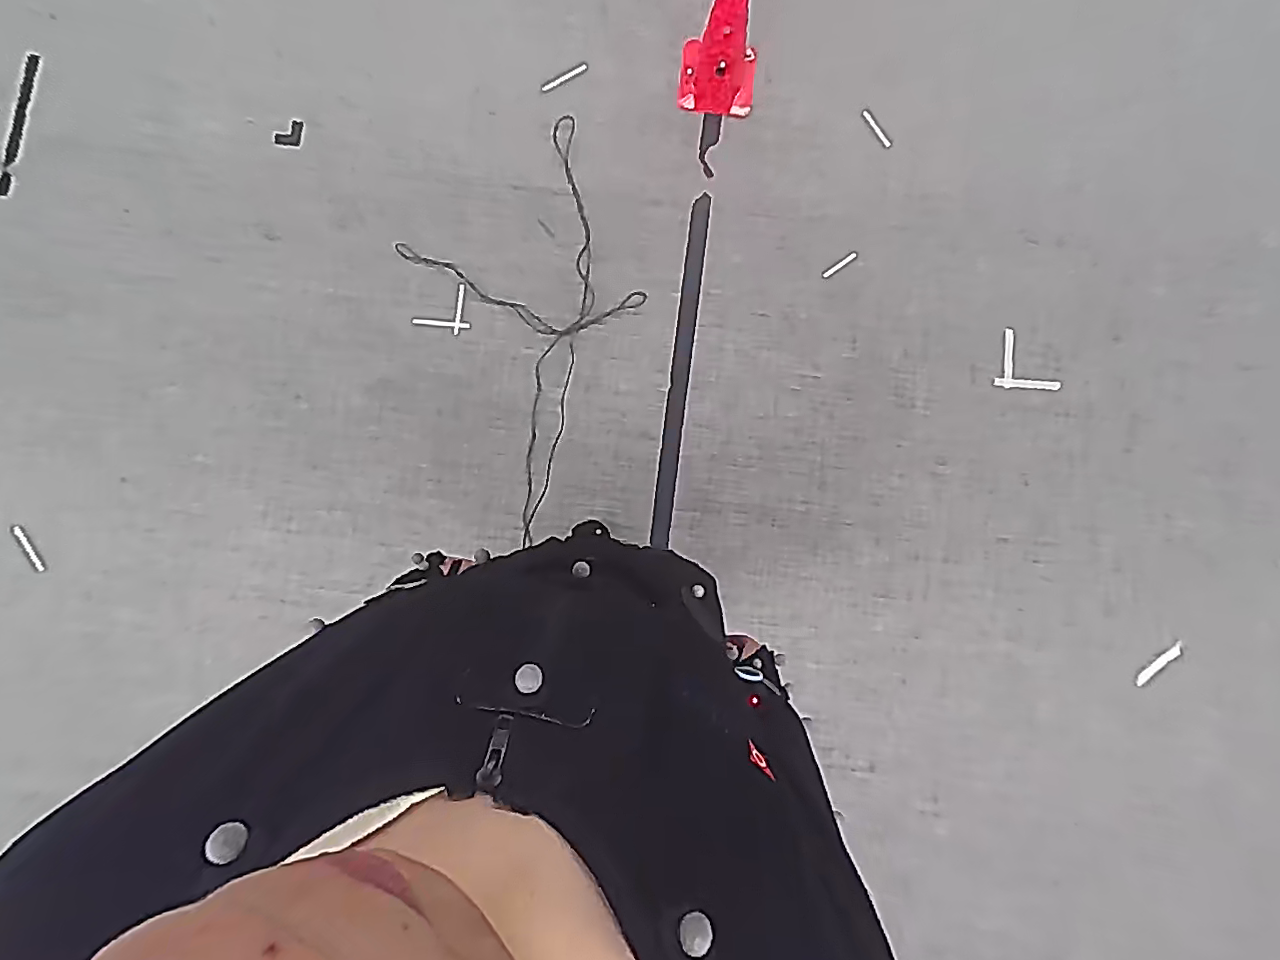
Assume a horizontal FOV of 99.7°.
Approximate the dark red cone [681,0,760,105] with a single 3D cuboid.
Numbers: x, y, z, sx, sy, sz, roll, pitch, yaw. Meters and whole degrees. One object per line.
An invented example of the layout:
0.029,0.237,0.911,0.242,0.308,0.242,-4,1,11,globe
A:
0.212,-1.106,1.266,0.201,0.394,0.202,6,87,1,dark red cone
